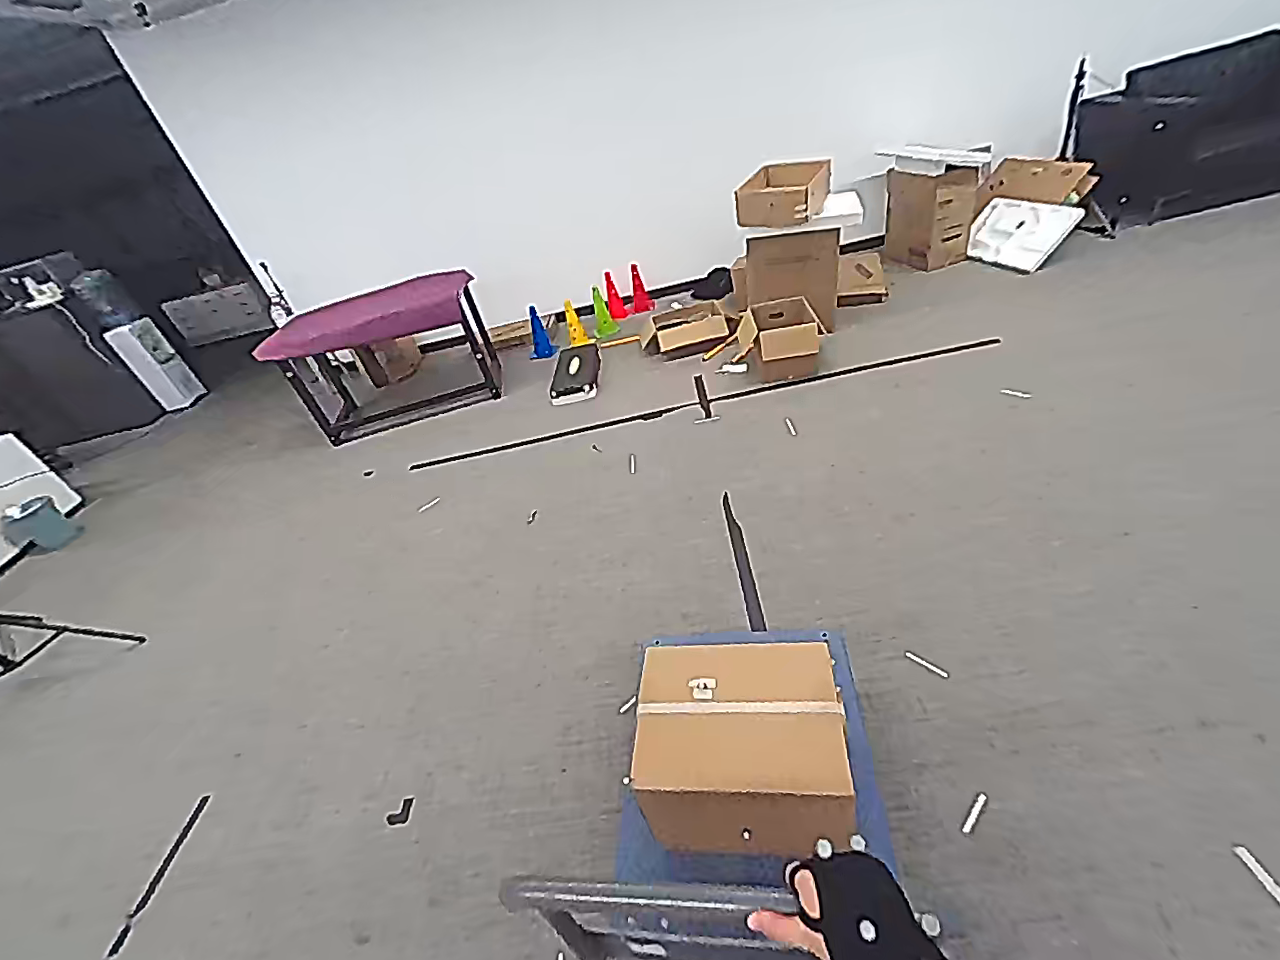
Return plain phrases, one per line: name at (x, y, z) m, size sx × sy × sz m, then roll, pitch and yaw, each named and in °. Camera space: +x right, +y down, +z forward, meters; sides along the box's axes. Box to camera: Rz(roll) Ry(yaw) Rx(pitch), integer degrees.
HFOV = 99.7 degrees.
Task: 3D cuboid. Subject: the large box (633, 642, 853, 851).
large box at (0.227, 0.588, 1.192) m, size 0.408 × 0.320 × 0.320 m, roll -7°, pitch 36°, yaw 13°
